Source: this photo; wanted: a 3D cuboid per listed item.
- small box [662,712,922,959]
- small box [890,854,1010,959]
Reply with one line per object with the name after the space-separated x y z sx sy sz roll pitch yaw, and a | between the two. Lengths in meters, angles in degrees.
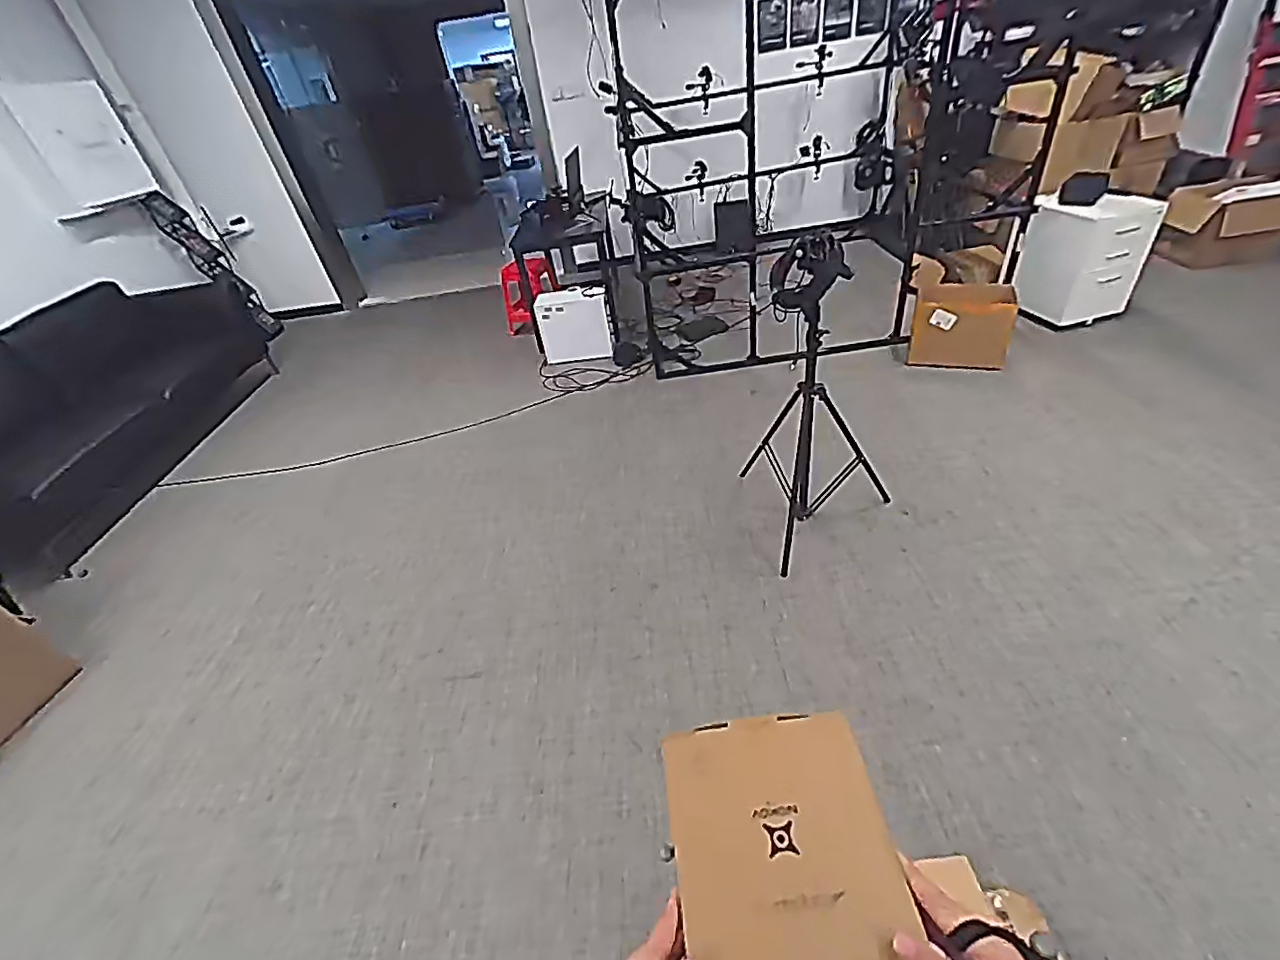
0.109 0.332 0.477 0.168 0.176 0.179 -6 44 0 | small box
0.469 0.746 0.881 0.168 0.176 0.179 -8 37 3 | small box
